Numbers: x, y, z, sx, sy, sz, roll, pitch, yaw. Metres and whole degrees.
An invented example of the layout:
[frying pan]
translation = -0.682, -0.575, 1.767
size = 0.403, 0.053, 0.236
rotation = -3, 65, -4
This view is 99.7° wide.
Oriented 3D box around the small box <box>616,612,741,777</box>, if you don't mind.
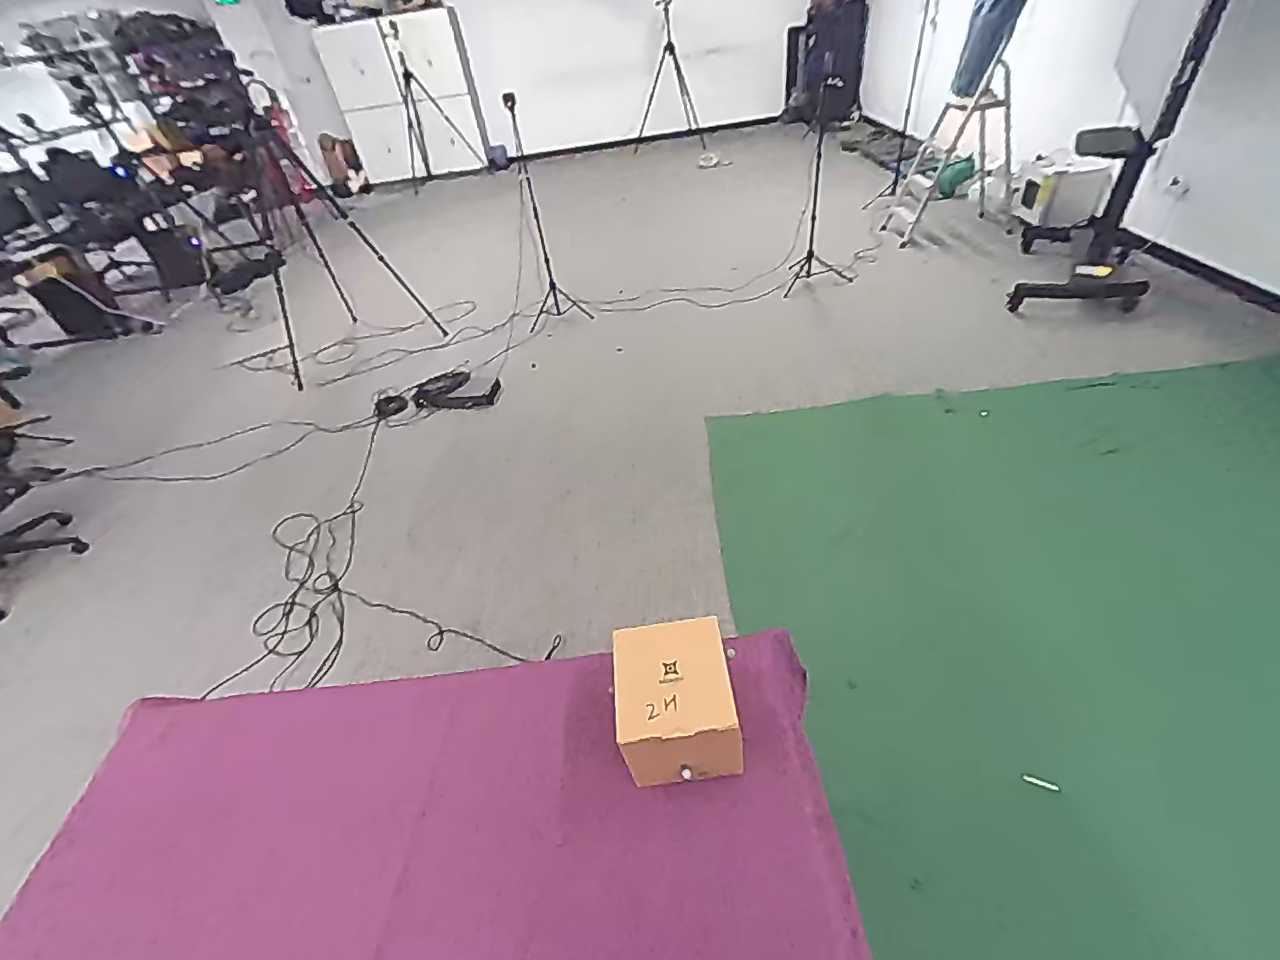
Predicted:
[small box]
translation = 0.058, 0.334, 0.841
size = 0.168, 0.176, 0.179
rotation = -10, 43, 5
